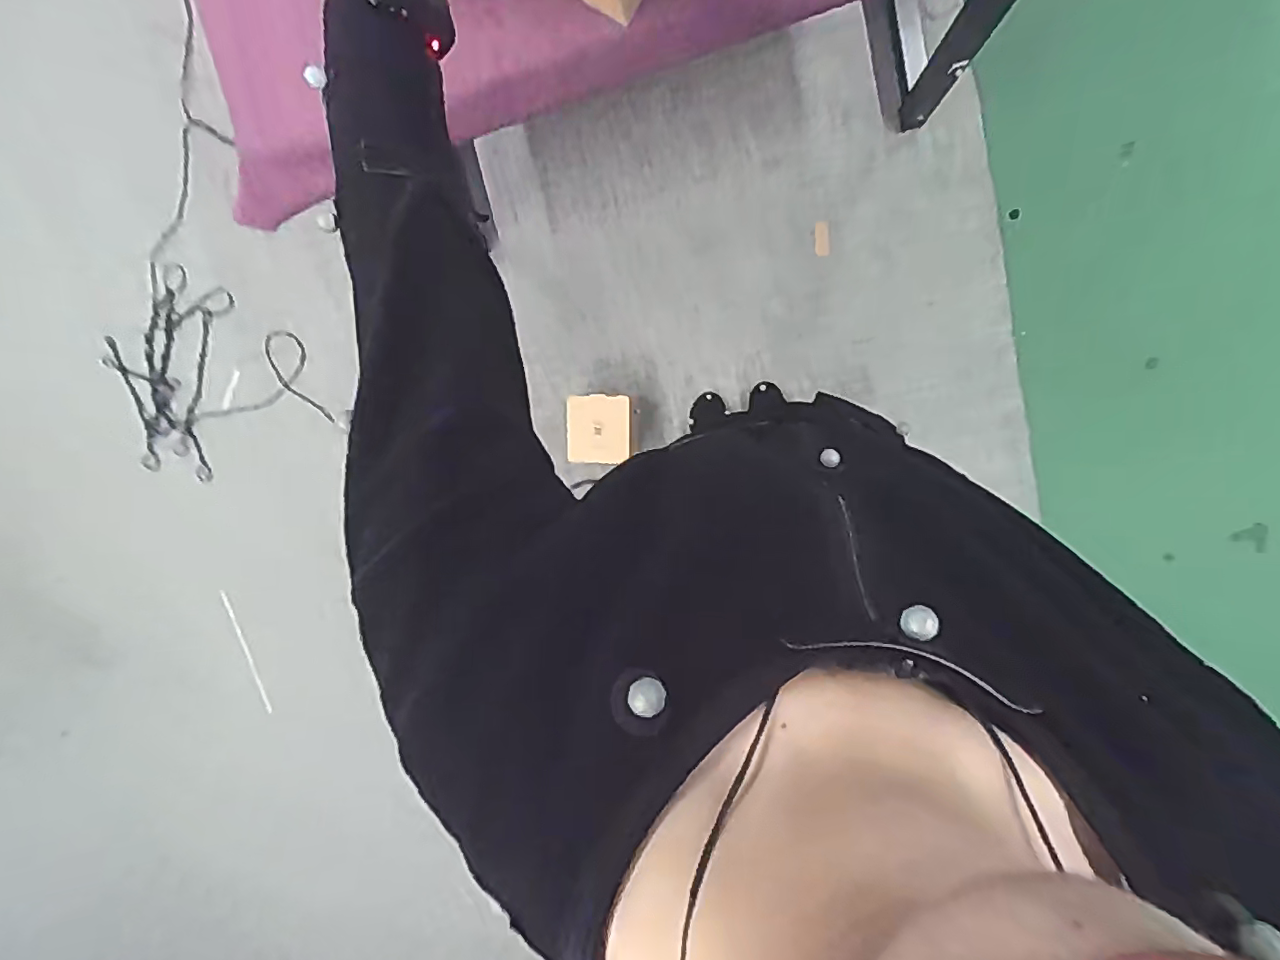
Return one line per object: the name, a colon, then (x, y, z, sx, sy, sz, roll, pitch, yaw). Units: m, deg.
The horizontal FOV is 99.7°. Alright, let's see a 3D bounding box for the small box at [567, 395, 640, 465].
small box: (-0.095, -0.140, 1.454, 0.168, 0.176, 0.179, 2, 101, 9)
